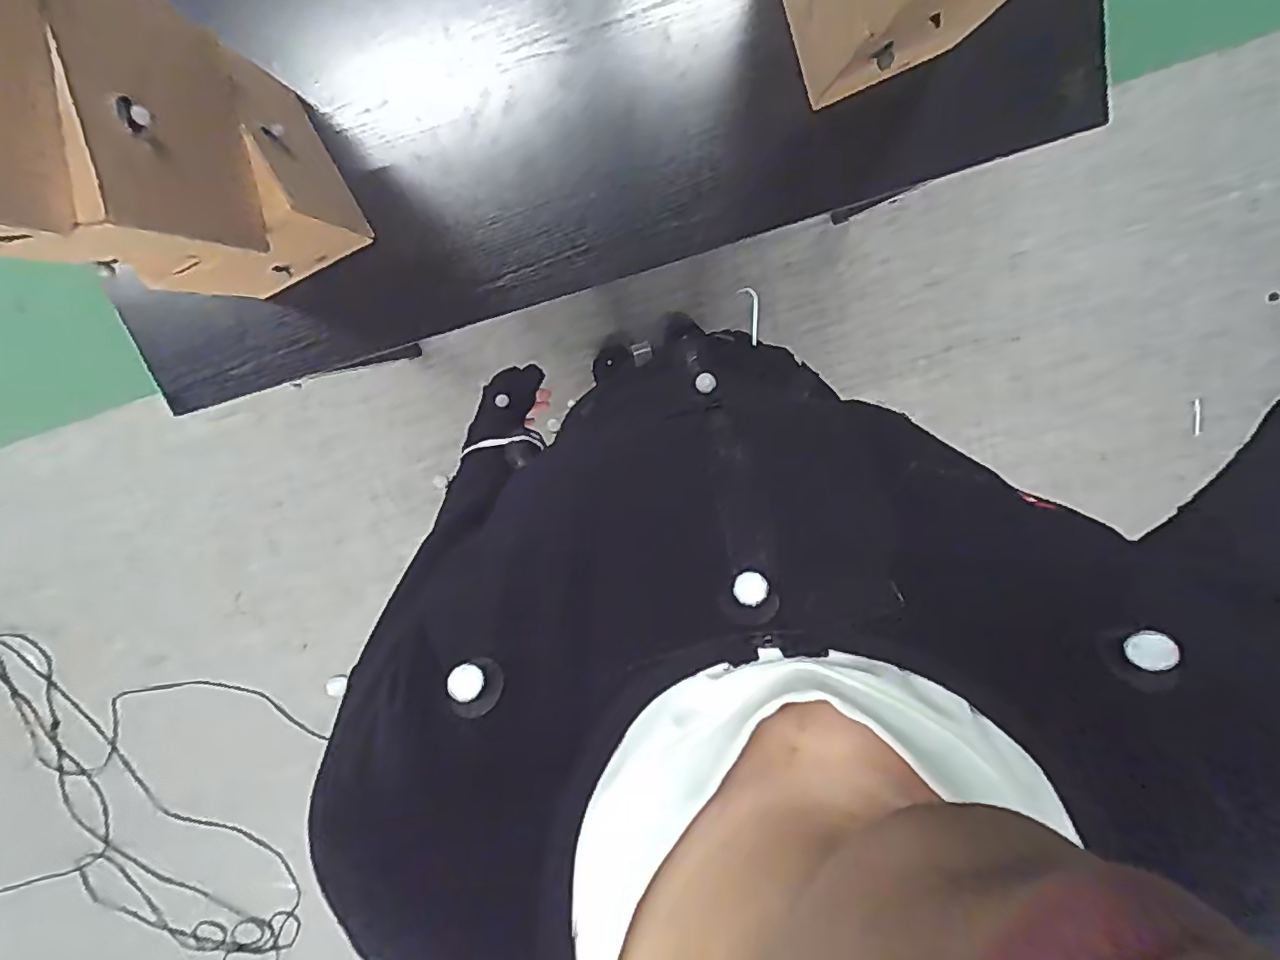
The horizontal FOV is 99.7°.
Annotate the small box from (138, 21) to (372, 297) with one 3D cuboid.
[{"bbox_3d":[-0.426,-0.308,0.566,0.168,0.176,0.179,-25,106,6],"label":"small box"}]

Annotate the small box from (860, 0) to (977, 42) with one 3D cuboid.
[{"bbox_3d":[0.240,-0.456,0.360,0.168,0.176,0.179,-24,105,6],"label":"small box"}]

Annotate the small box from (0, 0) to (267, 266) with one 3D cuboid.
[{"bbox_3d":[-0.426,-0.262,0.408,0.168,0.176,0.179,-4,106,-1],"label":"small box"}]

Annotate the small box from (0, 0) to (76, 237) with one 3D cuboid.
[{"bbox_3d":[-0.427,-0.221,0.249,0.168,0.176,0.179,6,107,-4],"label":"small box"}]
